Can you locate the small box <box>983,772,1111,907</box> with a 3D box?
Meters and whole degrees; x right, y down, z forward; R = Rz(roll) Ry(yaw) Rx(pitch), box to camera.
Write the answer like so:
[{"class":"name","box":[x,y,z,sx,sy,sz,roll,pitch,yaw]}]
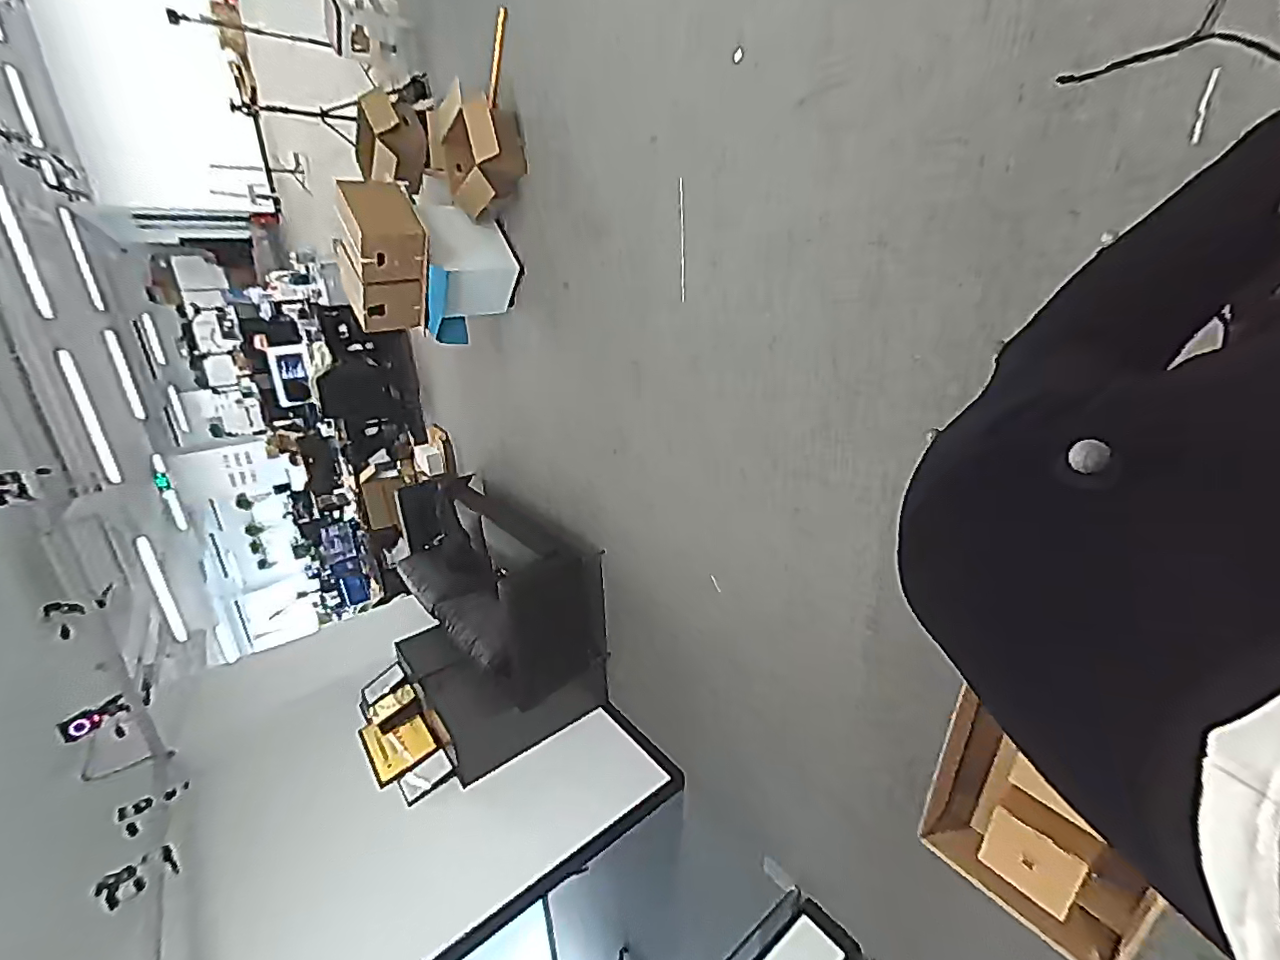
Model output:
[{"class":"small box","box":[0.892,0.758,1.179,0.168,0.176,0.179,27,125,48]}]
